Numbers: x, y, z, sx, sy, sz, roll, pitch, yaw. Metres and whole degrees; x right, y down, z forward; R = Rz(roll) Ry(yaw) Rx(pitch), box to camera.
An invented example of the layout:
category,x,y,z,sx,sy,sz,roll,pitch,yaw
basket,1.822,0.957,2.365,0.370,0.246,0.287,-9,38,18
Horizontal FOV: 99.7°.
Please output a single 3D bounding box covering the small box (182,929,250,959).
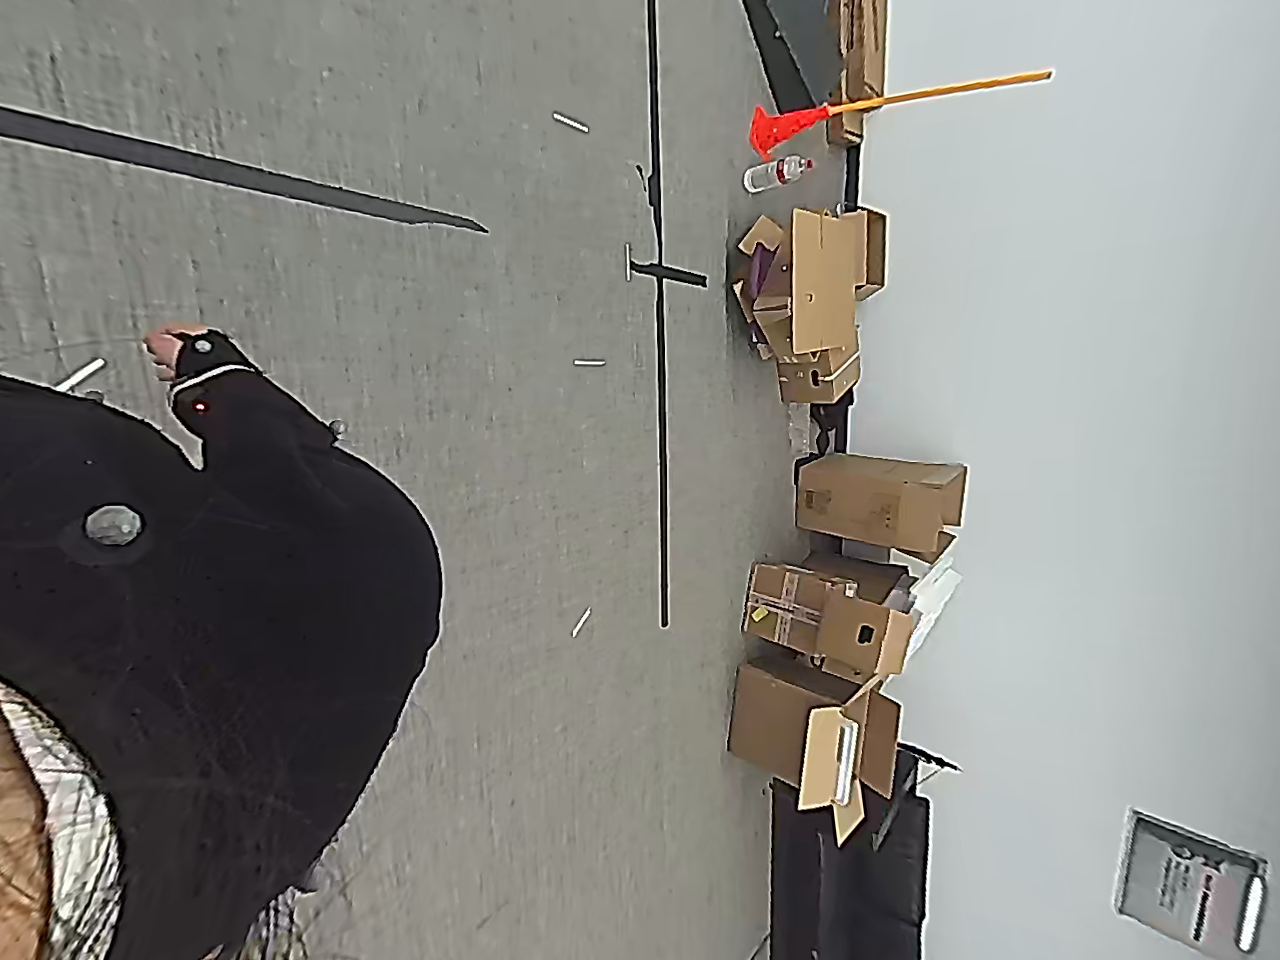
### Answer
category,x,y,z,sx,sy,sz,roll,pitch,yaw
small box,-0.900,1.098,1.108,0.179,0.176,0.168,-12,106,-47
